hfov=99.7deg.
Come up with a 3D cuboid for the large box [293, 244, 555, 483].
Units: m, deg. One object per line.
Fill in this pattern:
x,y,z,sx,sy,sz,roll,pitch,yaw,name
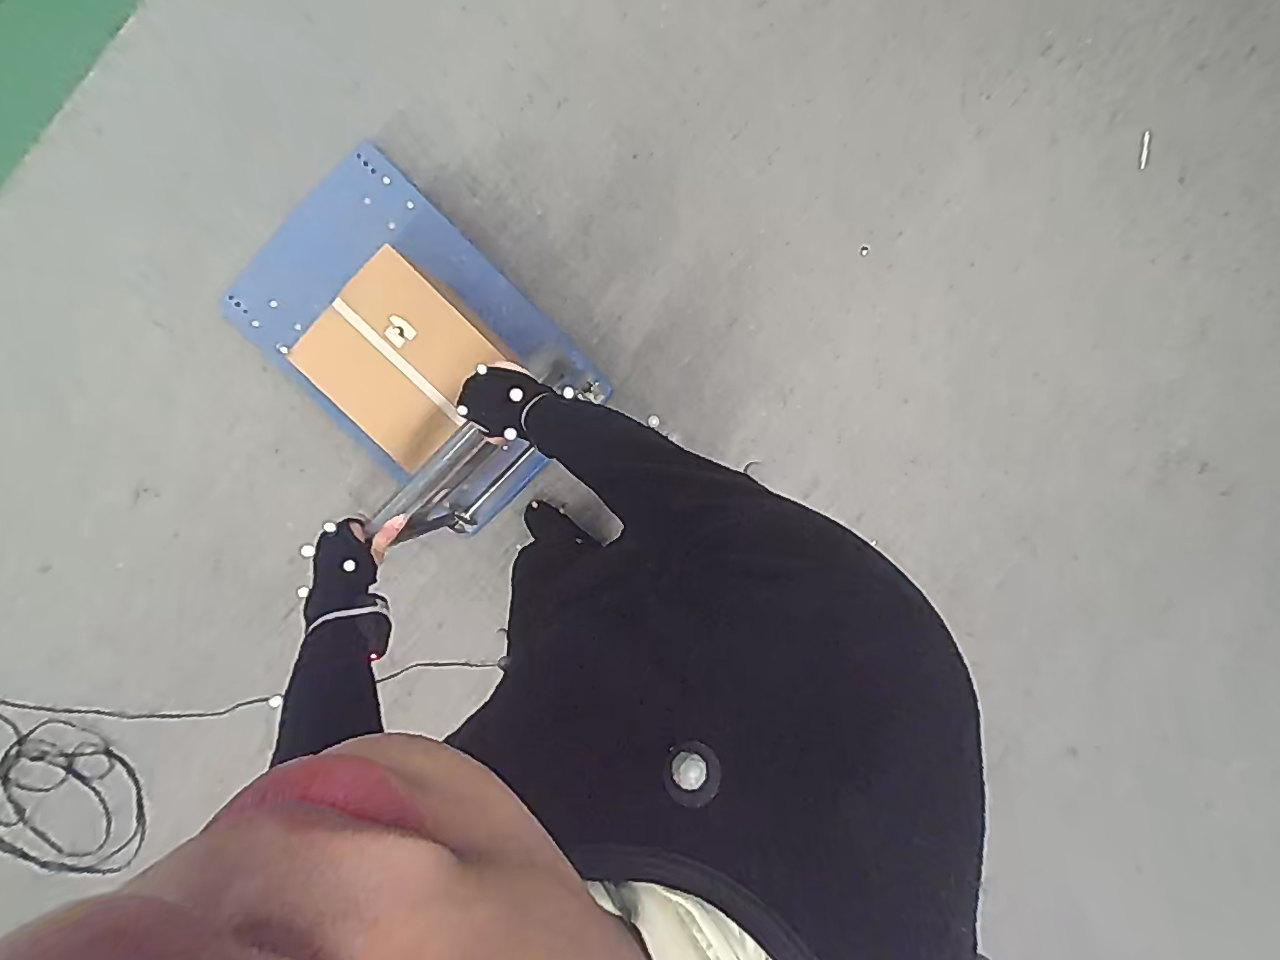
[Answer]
-0.463,-0.248,1.255,0.320,0.320,0.408,-45,94,4,large box
